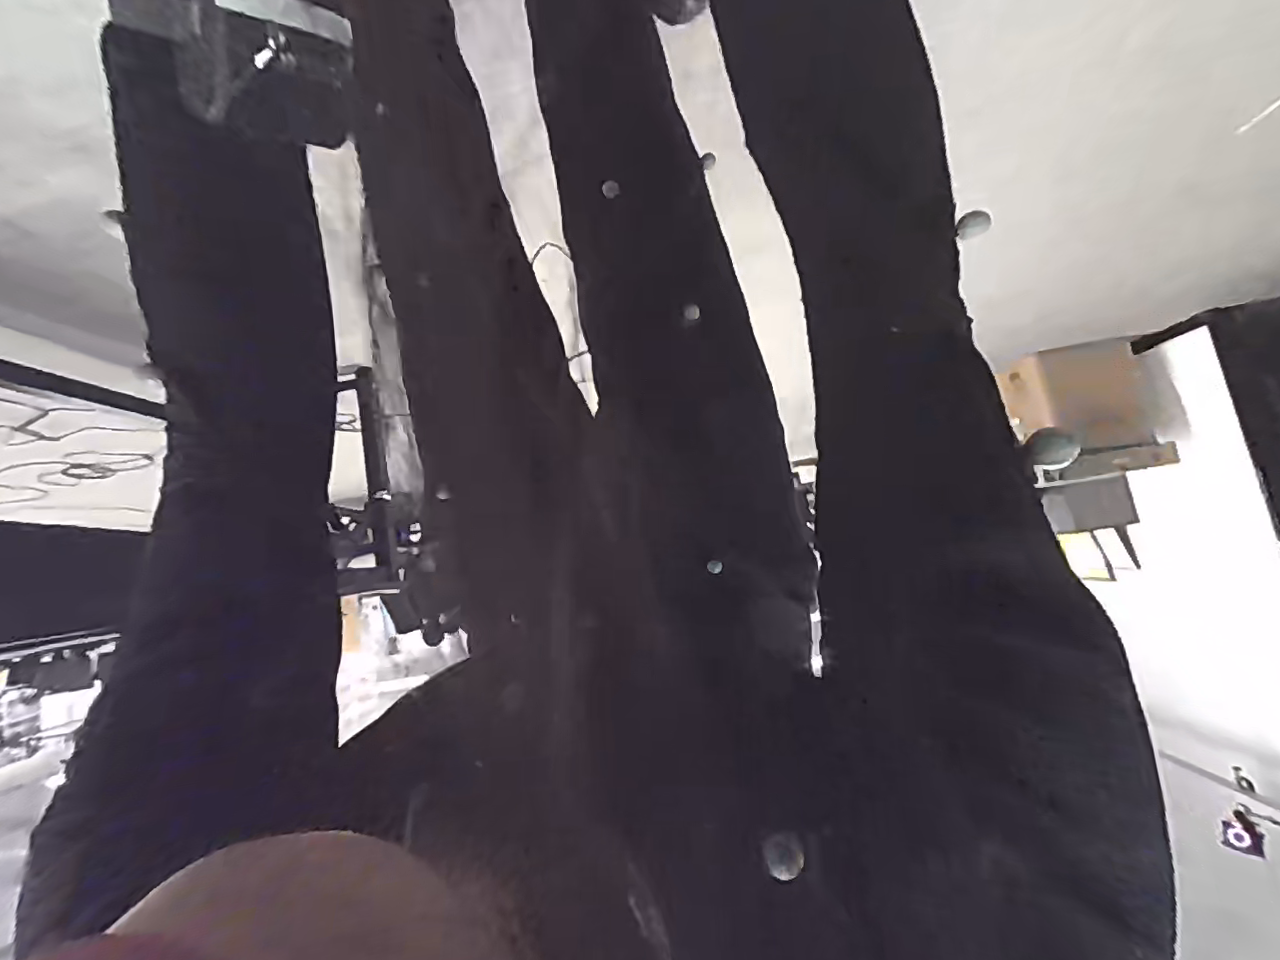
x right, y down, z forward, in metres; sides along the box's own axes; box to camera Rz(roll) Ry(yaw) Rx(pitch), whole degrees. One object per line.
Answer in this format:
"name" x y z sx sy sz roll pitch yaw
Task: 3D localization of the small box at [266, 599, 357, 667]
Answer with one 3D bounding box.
"small box" -0.979 0.452 1.619 0.179 0.176 0.168 -9 172 4
